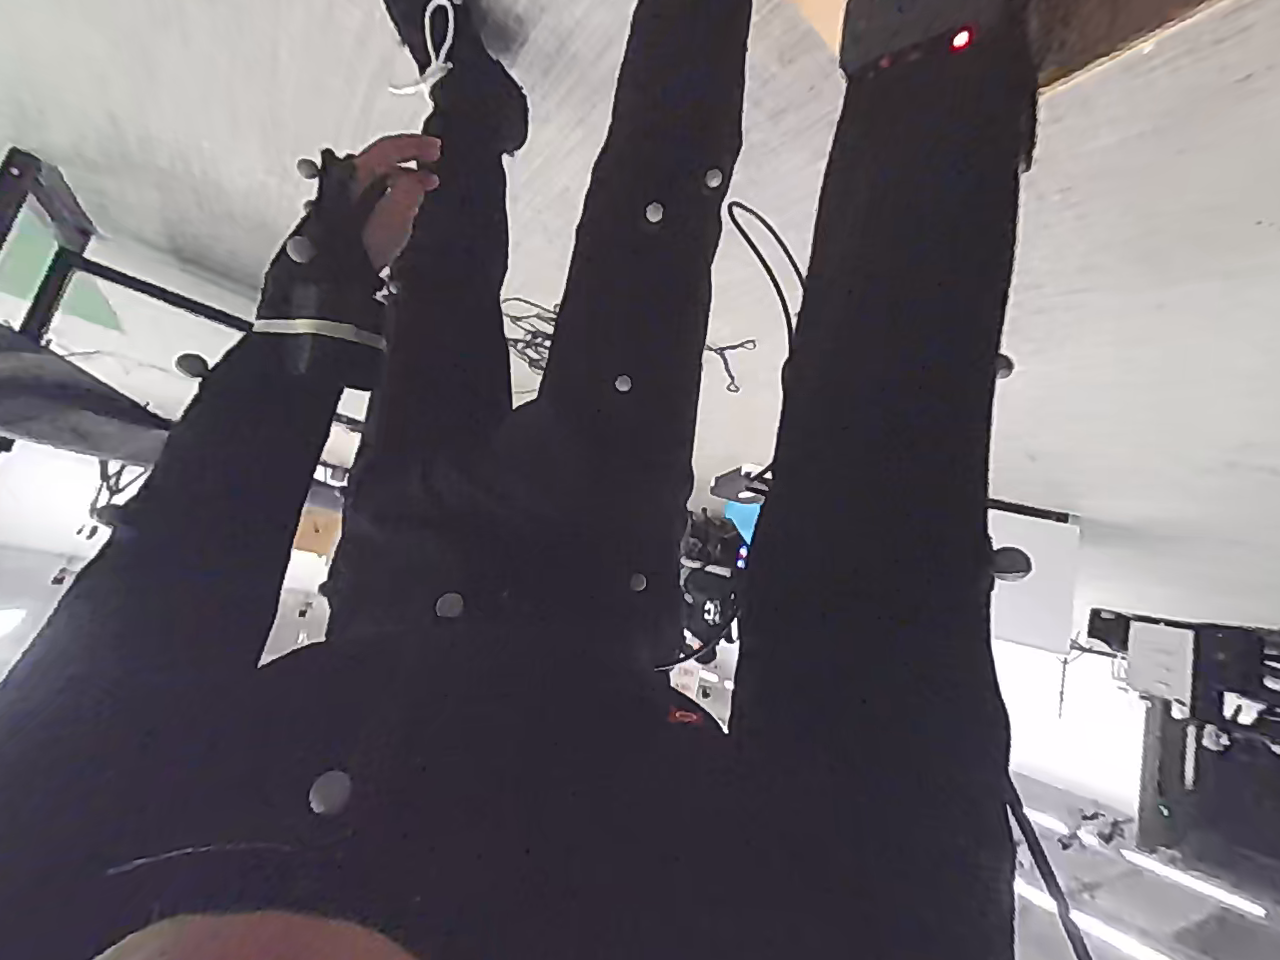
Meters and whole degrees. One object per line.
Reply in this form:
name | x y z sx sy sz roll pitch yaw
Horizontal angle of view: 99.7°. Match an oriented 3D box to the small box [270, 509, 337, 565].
small box | -1.229 0.206 1.975 0.168 0.176 0.179 20 168 -32
